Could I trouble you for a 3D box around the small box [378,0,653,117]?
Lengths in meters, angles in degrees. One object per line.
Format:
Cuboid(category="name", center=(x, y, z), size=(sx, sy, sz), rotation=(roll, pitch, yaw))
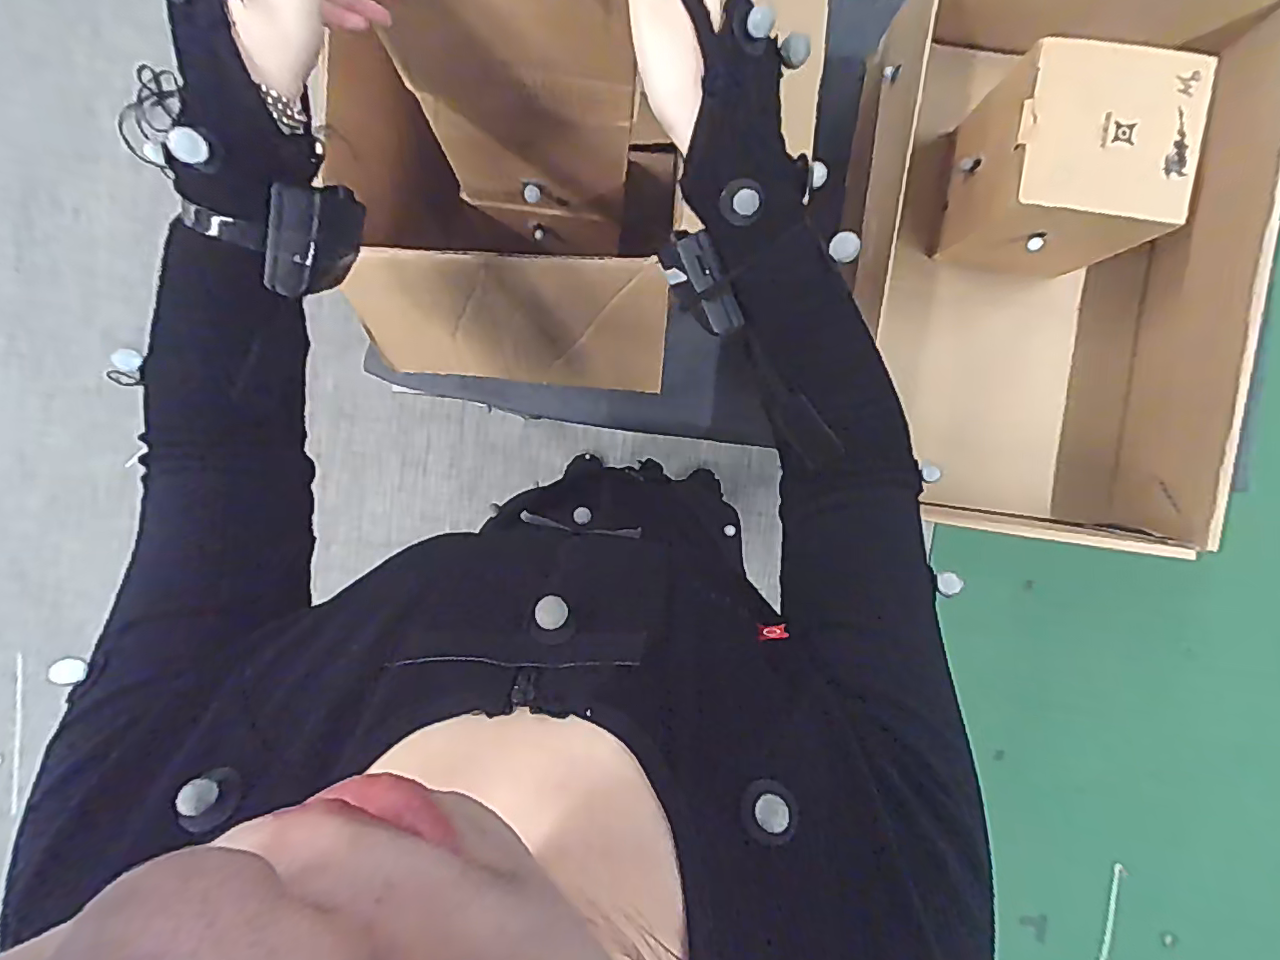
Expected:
Cuboid(category="small box", center=(-0.074, -0.364, 0.334), size=(0.179, 0.176, 0.168), rotation=(7, 92, -5))
